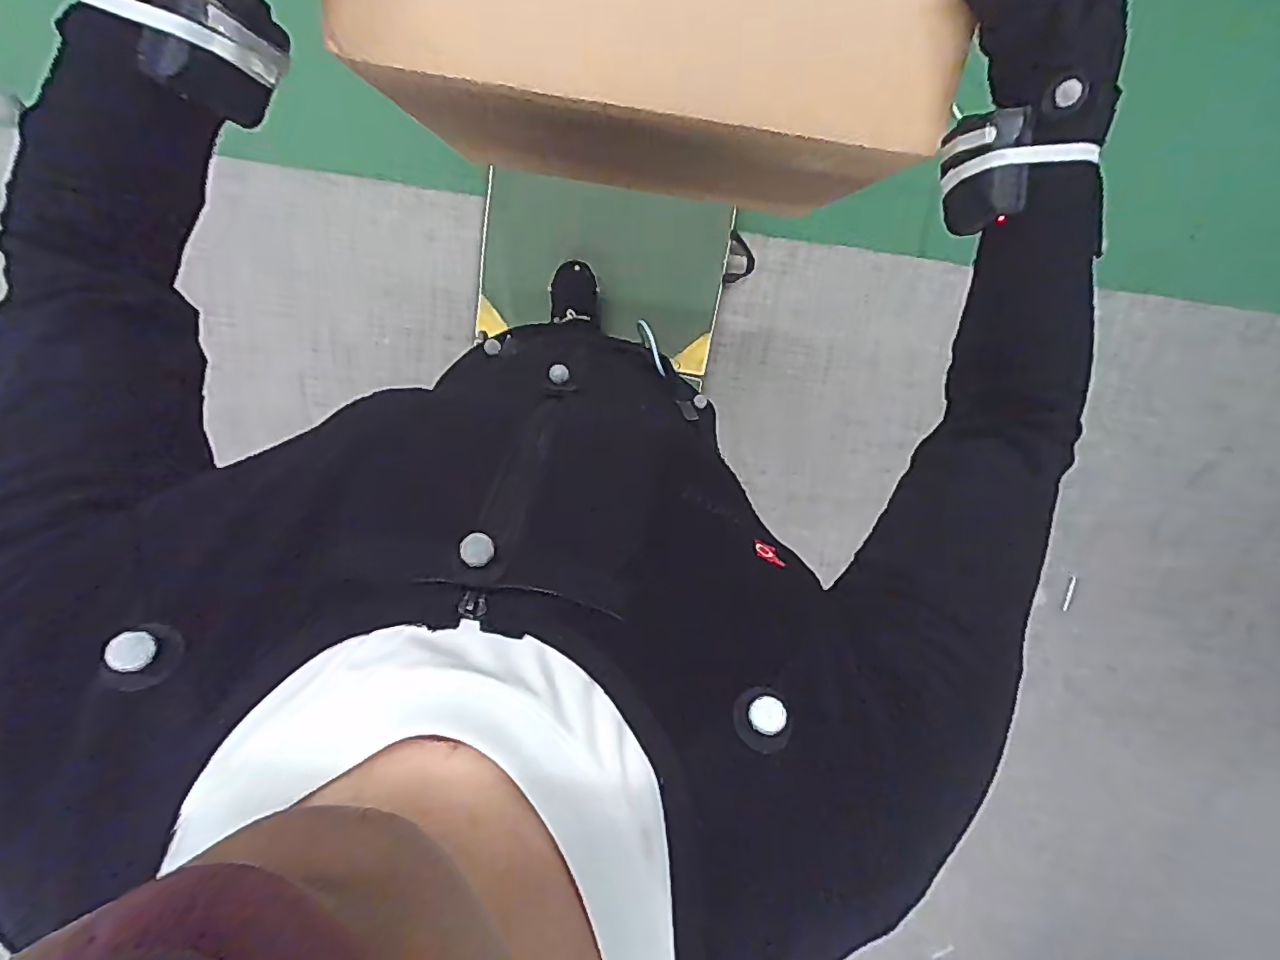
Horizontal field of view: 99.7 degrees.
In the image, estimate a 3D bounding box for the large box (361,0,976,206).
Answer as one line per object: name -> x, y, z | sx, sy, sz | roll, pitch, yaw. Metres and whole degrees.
large box -> 0.027, -0.448, 0.458 | 0.408, 0.320, 0.320 | 7, 110, -4
